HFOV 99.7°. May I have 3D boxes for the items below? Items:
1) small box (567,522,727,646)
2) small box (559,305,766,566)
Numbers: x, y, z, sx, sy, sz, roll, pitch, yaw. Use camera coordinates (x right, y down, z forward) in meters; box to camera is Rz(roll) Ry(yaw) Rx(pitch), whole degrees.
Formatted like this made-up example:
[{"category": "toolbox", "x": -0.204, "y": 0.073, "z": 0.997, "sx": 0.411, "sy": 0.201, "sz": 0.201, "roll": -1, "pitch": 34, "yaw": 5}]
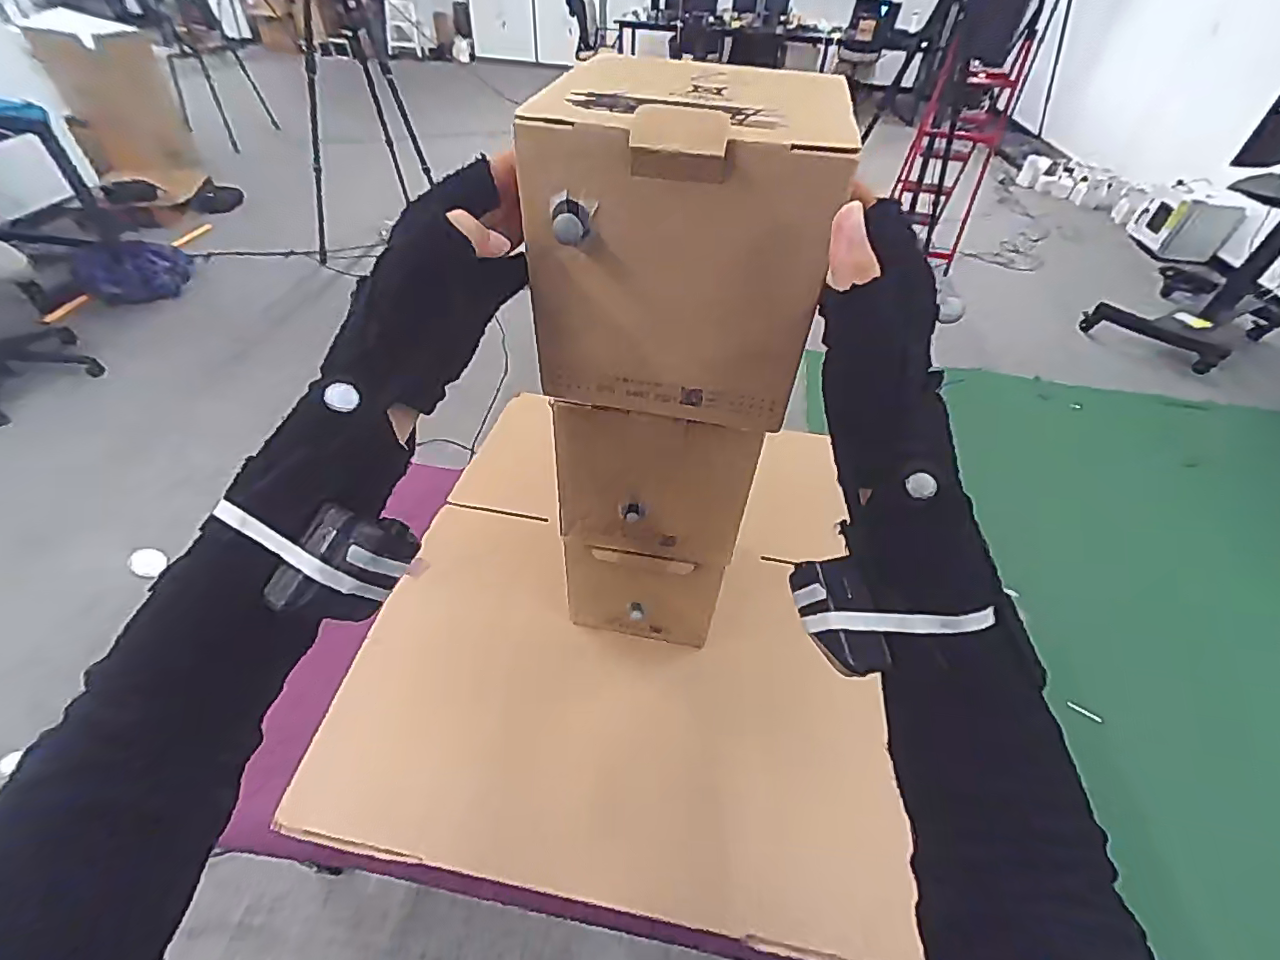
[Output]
[{"category": "small box", "x": 0.016, "y": 0.067, "z": 0.646, "sx": 0.168, "sy": 0.176, "sz": 0.179, "roll": 9, "pitch": 45, "yaw": 6}, {"category": "small box", "x": 0.023, "y": -0.045, "z": 0.527, "sx": 0.168, "sy": 0.176, "sz": 0.179, "roll": 8, "pitch": 45, "yaw": 4}]
